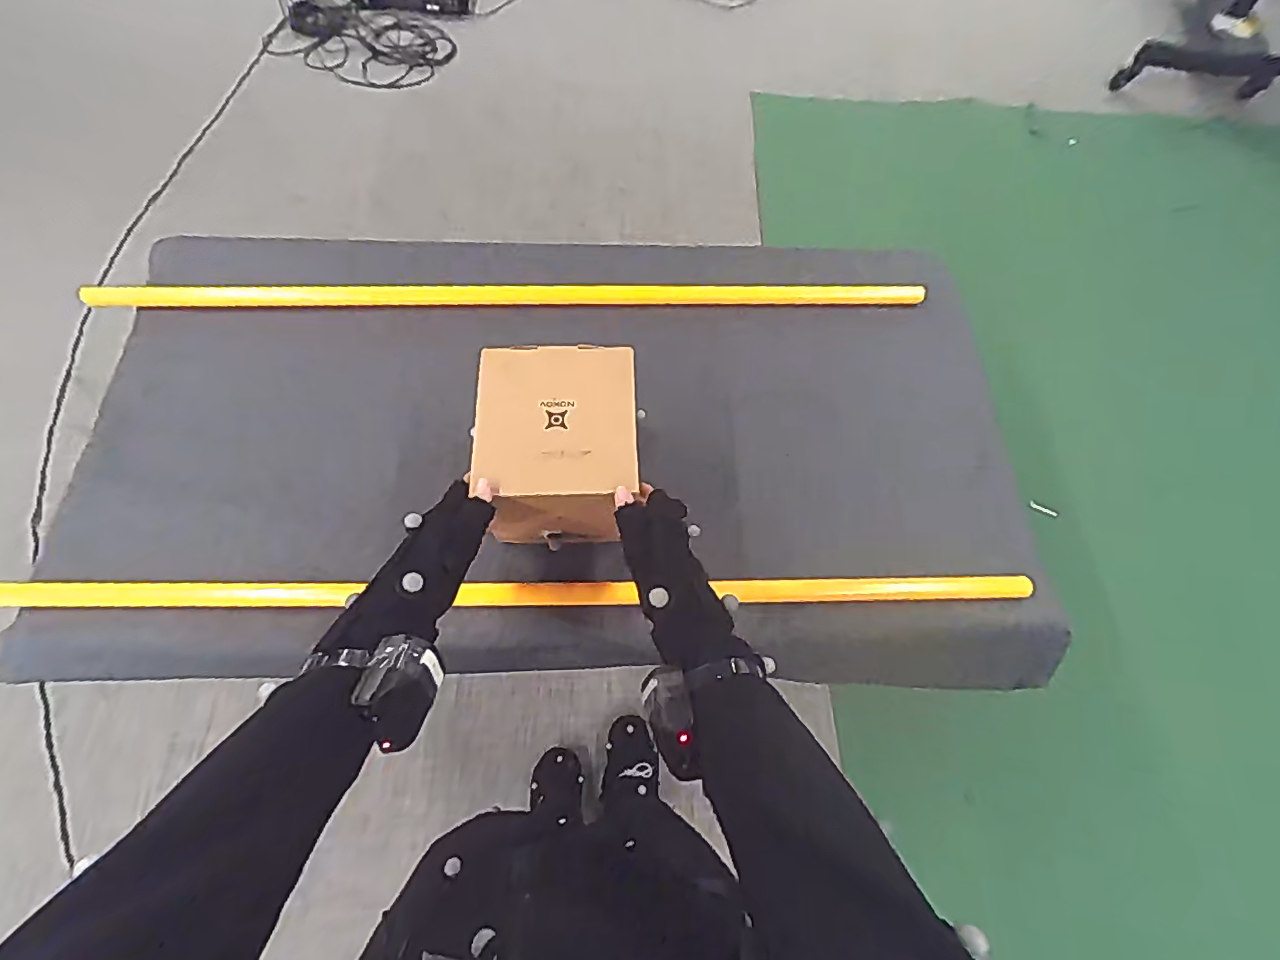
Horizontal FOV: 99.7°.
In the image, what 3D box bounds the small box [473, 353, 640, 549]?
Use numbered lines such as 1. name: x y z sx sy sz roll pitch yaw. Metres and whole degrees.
1. small box: -0.089 -0.028 0.635 0.168 0.176 0.179 -2 67 -3
